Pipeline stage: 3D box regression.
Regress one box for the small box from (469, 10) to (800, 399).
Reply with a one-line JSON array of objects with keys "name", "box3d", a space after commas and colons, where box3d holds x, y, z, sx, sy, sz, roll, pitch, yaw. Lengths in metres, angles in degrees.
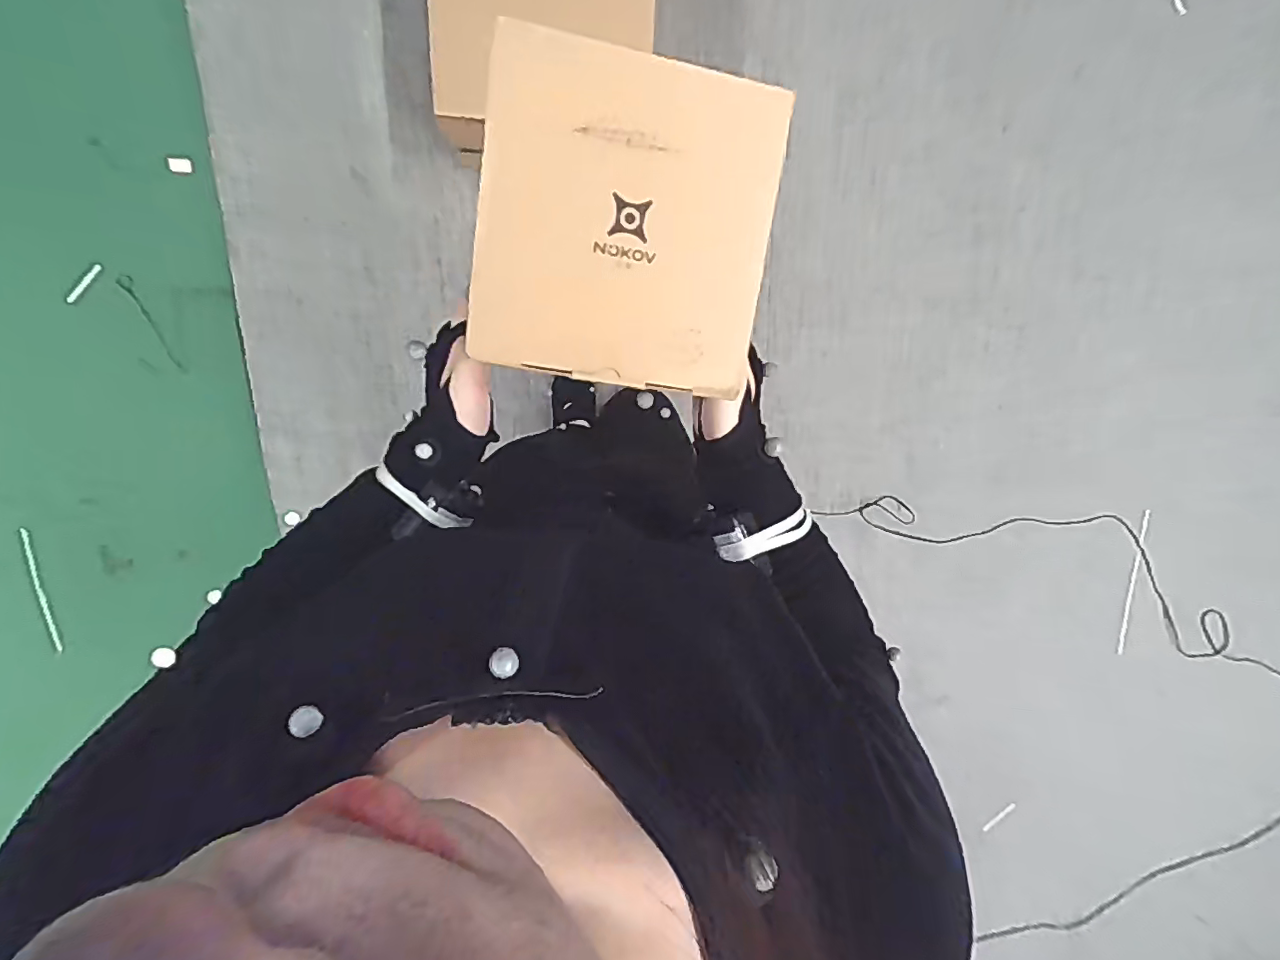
[{"name": "small box", "box3d": [-0.014, -0.161, 0.380, 0.168, 0.176, 0.179, 8, 100, -10]}]
